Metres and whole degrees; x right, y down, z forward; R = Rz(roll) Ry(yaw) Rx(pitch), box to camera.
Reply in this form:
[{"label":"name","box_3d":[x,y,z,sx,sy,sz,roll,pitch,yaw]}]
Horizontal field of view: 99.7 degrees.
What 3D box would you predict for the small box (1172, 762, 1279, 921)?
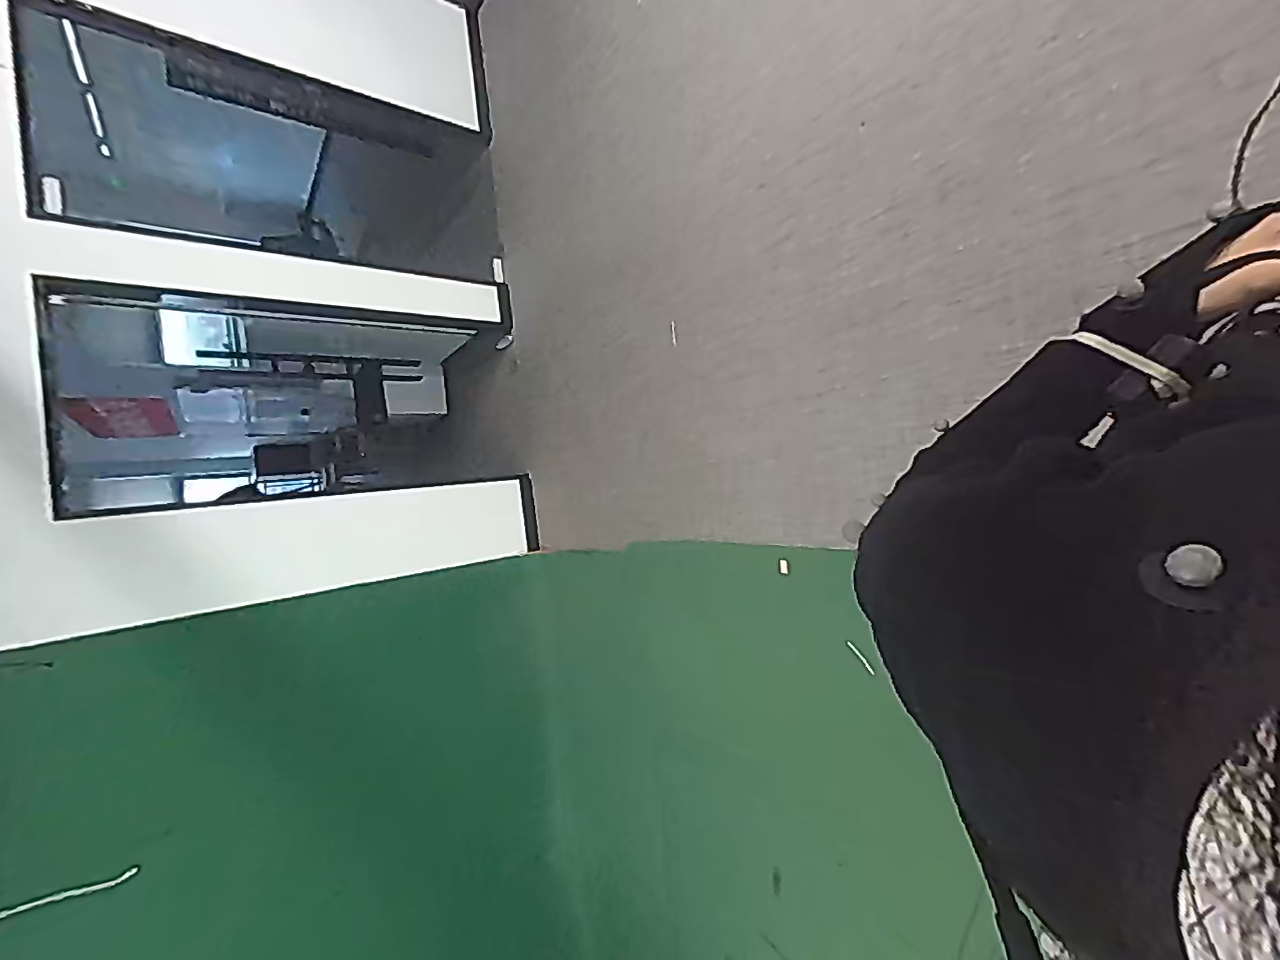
[{"label":"small box","box_3d":[1.146,0.679,1.028,0.168,0.176,0.179,-3,92,52]}]
